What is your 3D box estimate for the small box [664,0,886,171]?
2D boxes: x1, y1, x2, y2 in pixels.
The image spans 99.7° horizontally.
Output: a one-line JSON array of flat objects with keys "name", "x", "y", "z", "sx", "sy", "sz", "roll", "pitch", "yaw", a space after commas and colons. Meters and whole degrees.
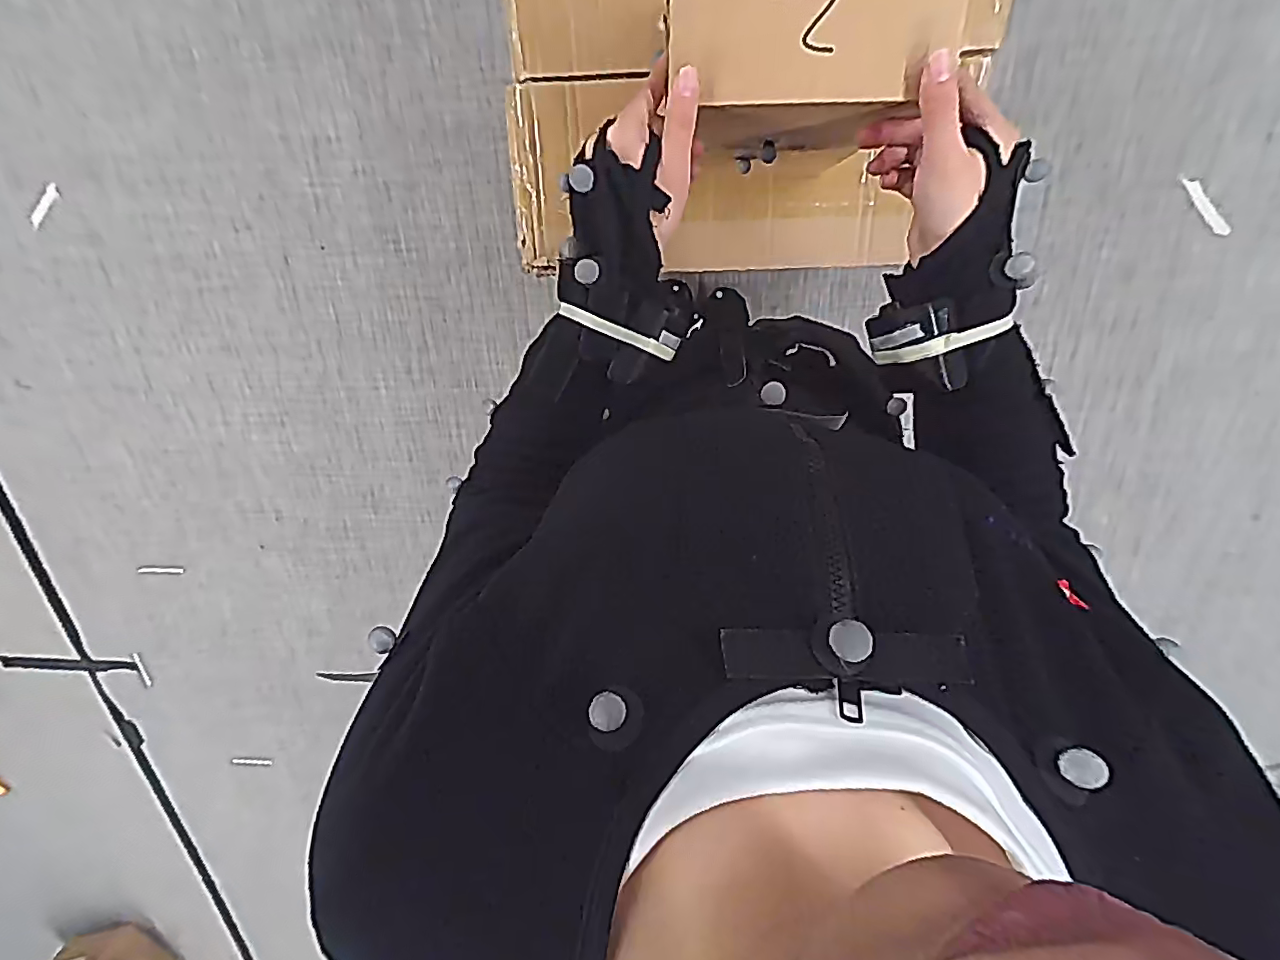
[{"name": "small box", "x": 0.114, "y": -0.398, "z": 0.511, "sx": 0.179, "sy": 0.176, "sz": 0.168, "roll": 1, "pitch": 112, "yaw": 4}]
